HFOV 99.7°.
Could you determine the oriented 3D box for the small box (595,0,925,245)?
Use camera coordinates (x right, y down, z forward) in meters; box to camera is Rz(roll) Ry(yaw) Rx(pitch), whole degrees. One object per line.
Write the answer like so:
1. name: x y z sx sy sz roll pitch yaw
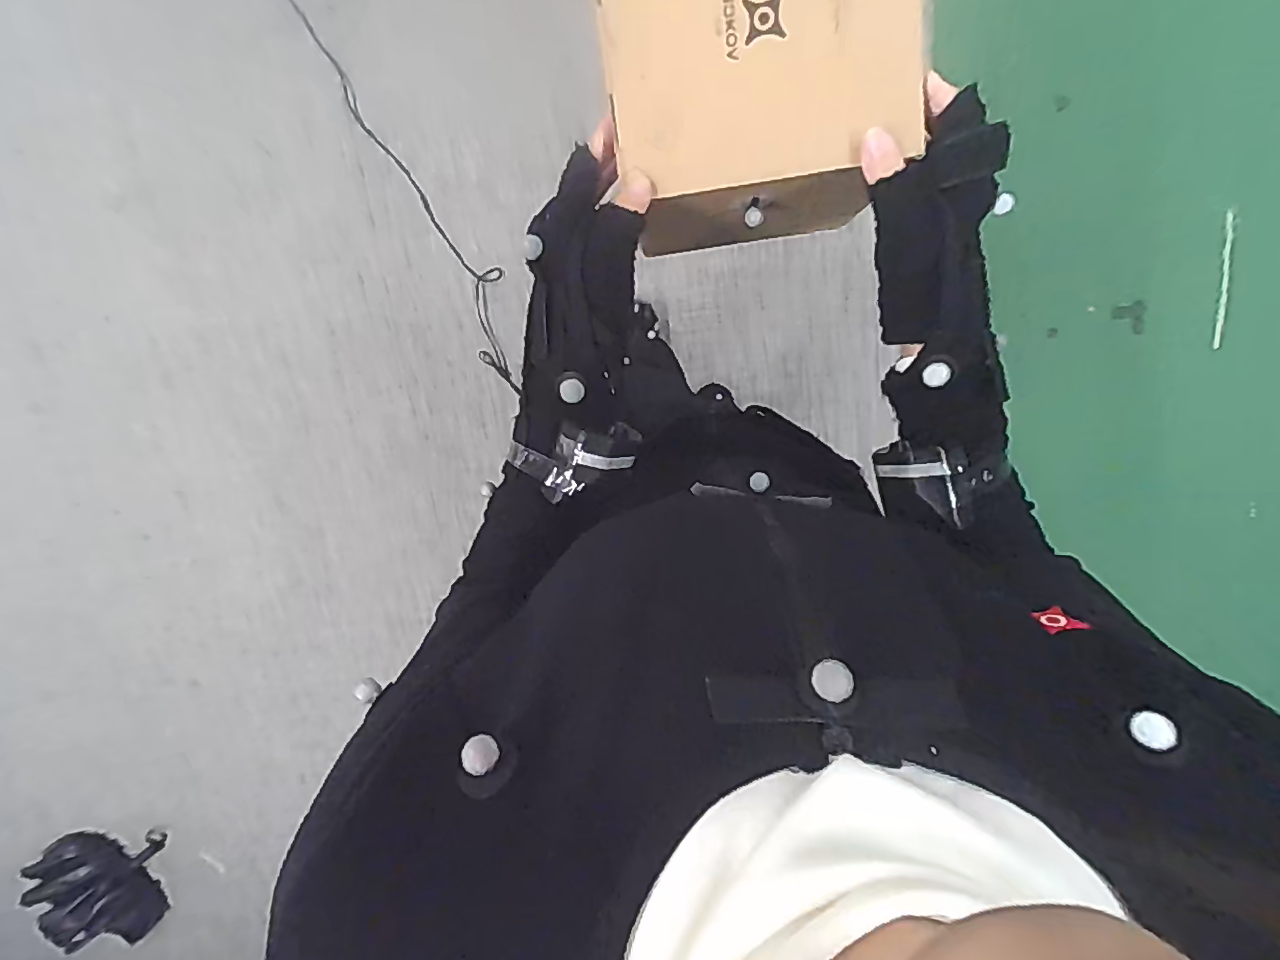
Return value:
1. small box: 0.070 -0.273 0.373 0.179 0.176 0.168 -7 102 5
